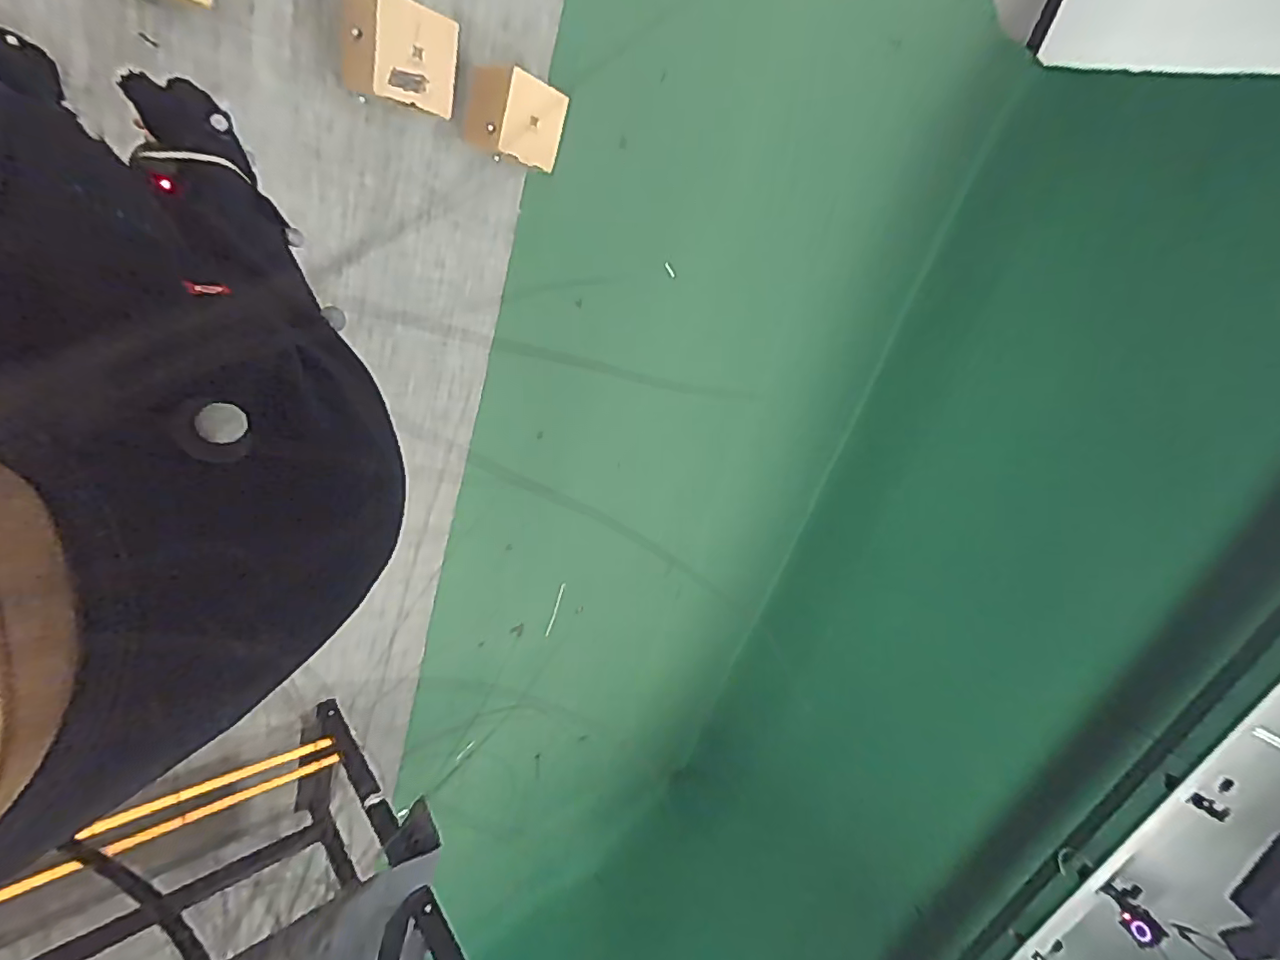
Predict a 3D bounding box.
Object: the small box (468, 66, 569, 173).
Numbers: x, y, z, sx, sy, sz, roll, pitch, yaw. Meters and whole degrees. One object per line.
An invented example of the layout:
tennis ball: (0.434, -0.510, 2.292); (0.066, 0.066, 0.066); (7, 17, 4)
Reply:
small box: (-0.309, -0.899, 1.352); (0.168, 0.176, 0.179); (-5, 122, -47)

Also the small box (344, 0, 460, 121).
small box: (-0.501, -0.884, 1.131); (0.168, 0.176, 0.179); (-11, 125, -46)
